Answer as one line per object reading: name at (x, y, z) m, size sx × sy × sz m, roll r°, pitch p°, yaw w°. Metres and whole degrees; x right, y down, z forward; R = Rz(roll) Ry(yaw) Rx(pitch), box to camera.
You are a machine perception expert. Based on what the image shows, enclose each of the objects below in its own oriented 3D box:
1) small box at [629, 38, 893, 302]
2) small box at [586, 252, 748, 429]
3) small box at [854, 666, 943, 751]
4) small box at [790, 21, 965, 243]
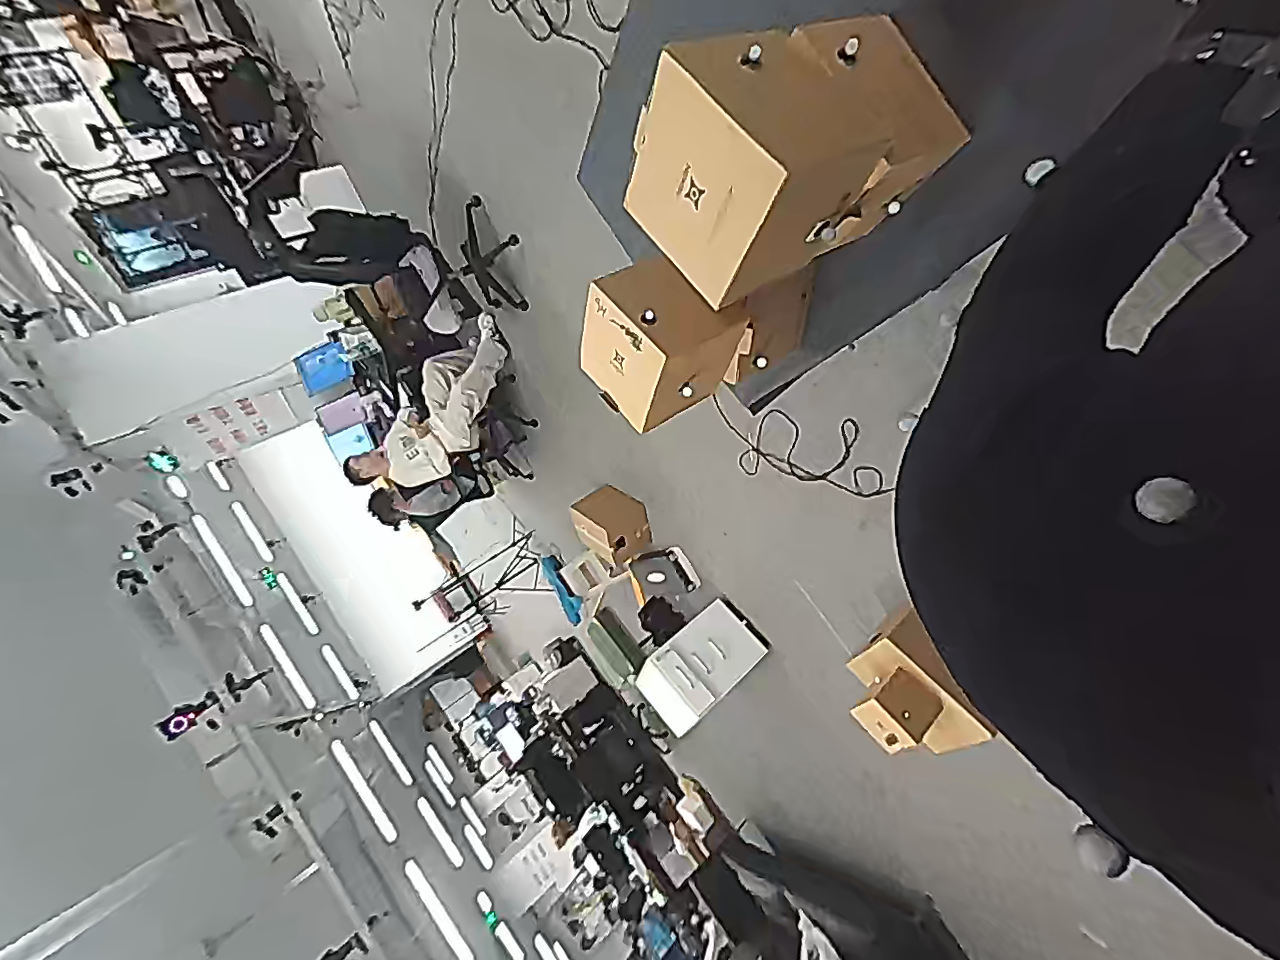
small box at (0.120, -0.329, 0.573) m, size 0.179 × 0.176 × 0.168 m, roll 51°, pitch 153°, yaw 12°
small box at (0.037, -0.215, 0.827) m, size 0.168 × 0.176 × 0.179 m, roll 49°, pitch 153°, yaw 18°
small box at (0.854, 0.752, 1.784) m, size 0.179 × 0.176 × 0.168 m, roll 46°, pitch 149°, yaw 21°
small box at (0.240, -0.405, 0.651) m, size 0.179 × 0.176 × 0.168 m, roll 57°, pitch 154°, yaw 2°
